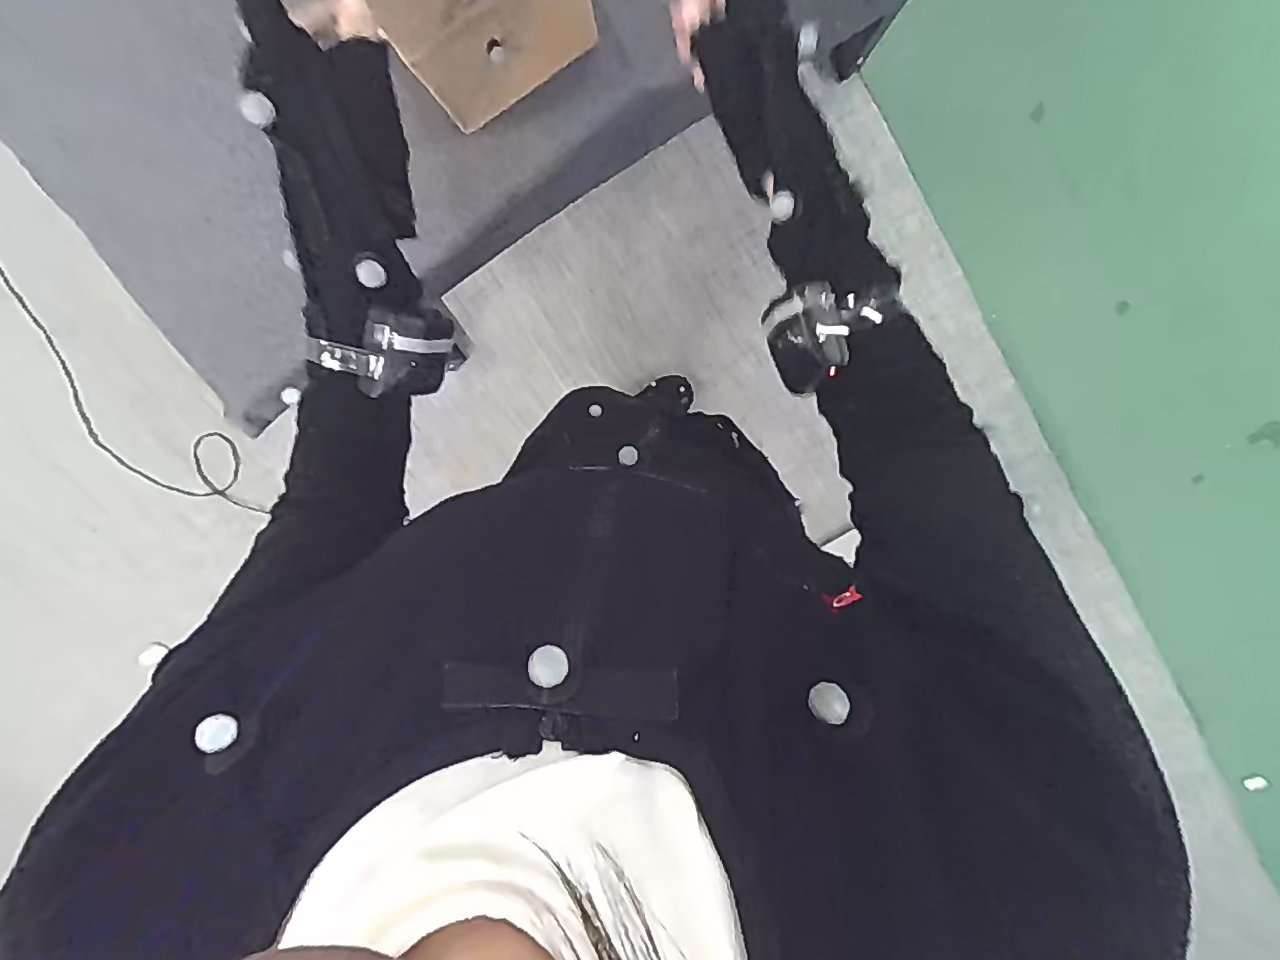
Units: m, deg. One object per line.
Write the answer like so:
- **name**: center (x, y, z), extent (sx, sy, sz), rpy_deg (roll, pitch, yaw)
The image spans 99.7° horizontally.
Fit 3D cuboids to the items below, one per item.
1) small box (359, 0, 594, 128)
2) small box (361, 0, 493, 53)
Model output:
- **small box**: center (-0.162, -0.474, 0.498), extent (0.179, 0.176, 0.168), rpy_deg (-30, 100, 10)
- **small box**: center (-0.169, -0.436, 0.338), extent (0.168, 0.176, 0.179), rpy_deg (-33, 98, 10)
